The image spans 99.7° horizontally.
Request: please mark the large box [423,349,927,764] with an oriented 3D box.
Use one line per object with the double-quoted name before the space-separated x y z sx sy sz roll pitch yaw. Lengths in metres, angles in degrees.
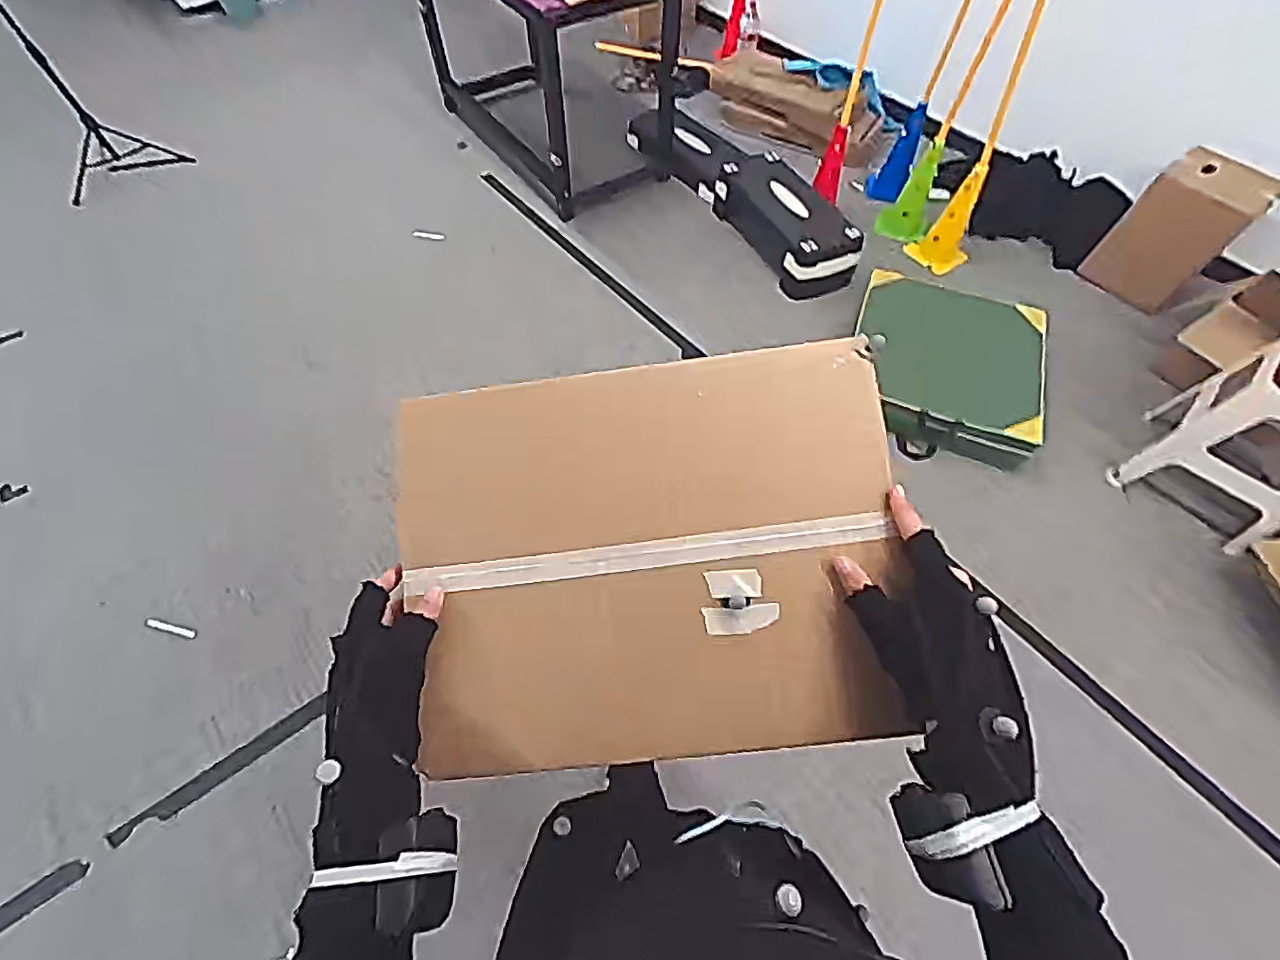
"large box" 0.025 0.082 0.606 0.408 0.320 0.320 -7 82 3
